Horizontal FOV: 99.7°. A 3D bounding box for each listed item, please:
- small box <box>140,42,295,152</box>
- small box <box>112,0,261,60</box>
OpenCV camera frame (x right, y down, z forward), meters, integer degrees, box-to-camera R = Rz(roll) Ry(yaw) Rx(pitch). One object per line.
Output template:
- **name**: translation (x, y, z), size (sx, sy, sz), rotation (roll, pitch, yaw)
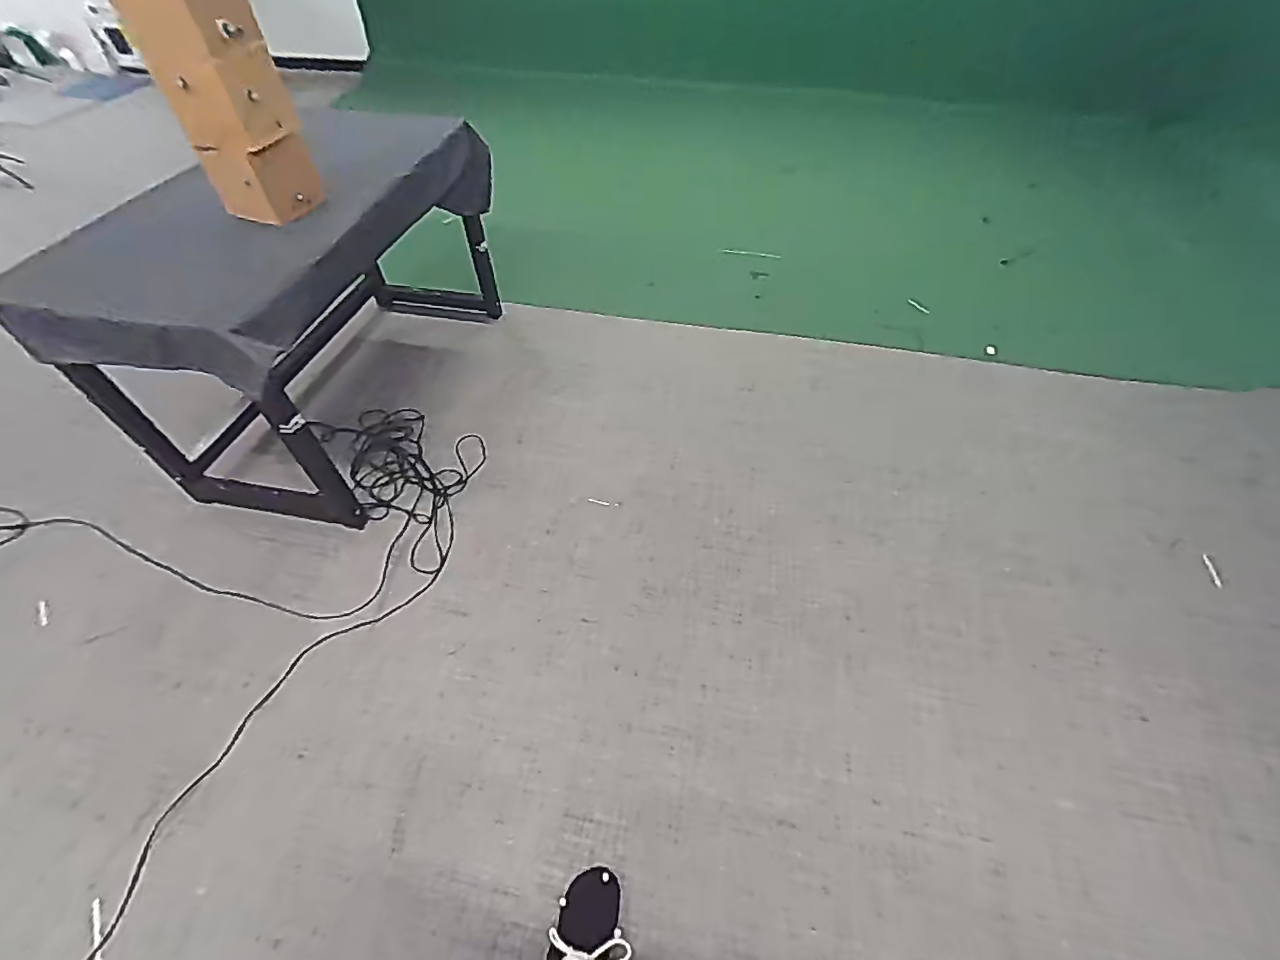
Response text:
- **small box**: translation (-0.918, -0.851, 1.198), size (0.179, 0.176, 0.168), rotation (11, 52, 9)
- **small box**: translation (-0.919, -0.961, 1.077), size (0.179, 0.176, 0.168), rotation (10, 53, 7)
